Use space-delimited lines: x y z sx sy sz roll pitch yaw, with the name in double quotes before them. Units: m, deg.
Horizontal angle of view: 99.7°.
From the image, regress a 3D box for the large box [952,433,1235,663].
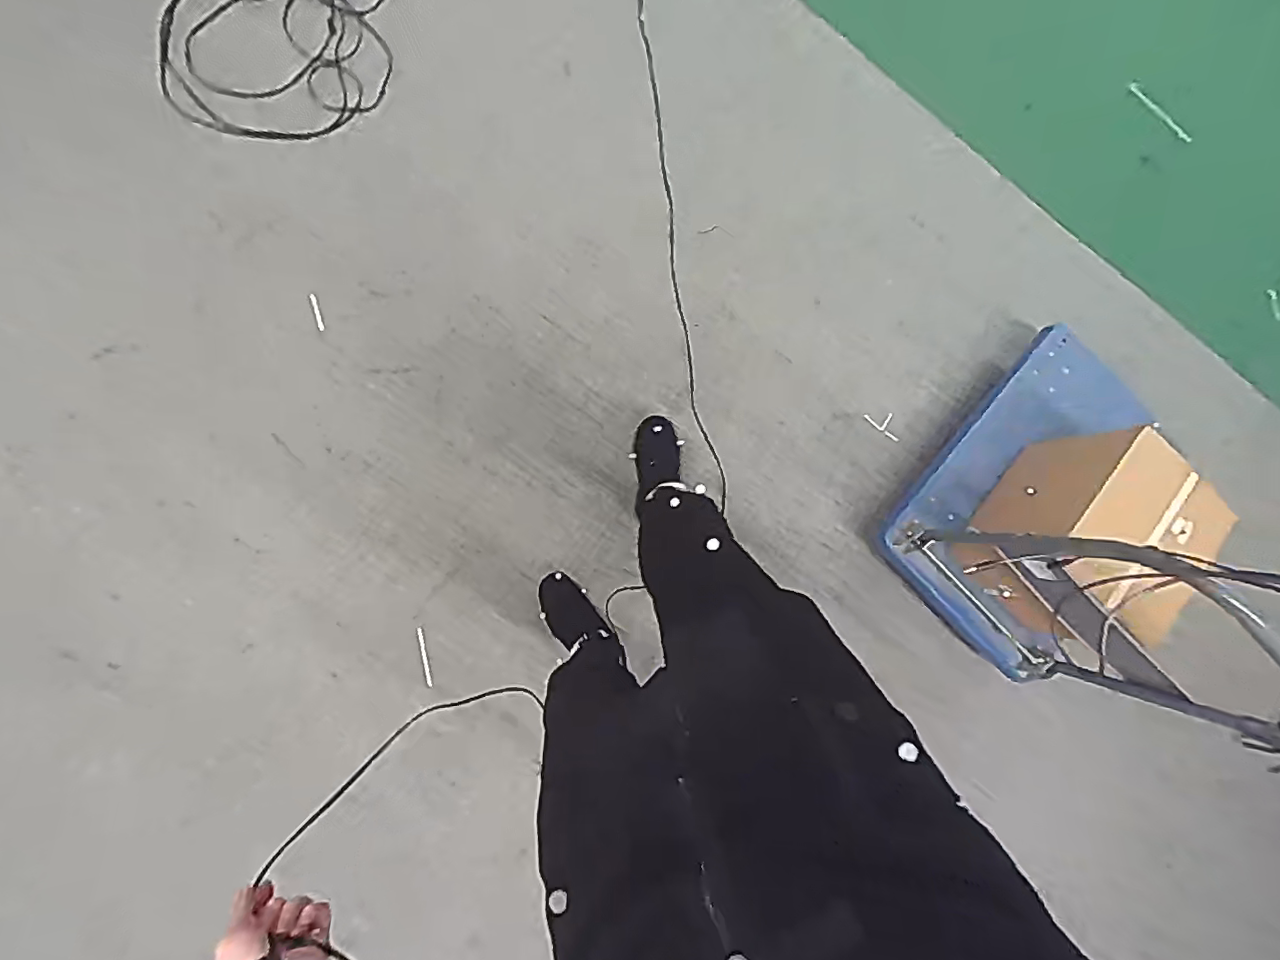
"large box" 1.065 0.158 1.304 0.320 0.320 0.408 44 78 -4
